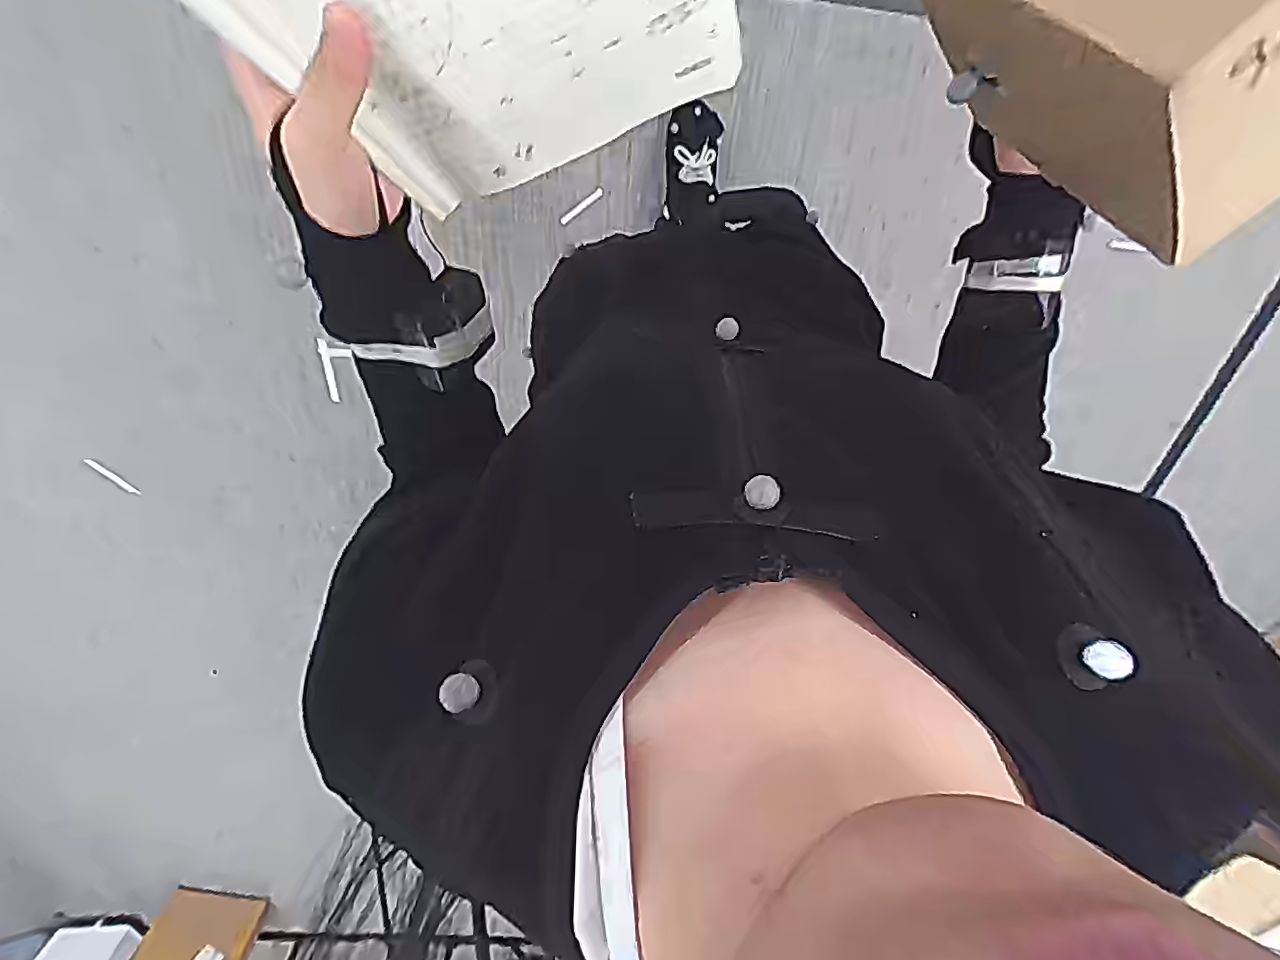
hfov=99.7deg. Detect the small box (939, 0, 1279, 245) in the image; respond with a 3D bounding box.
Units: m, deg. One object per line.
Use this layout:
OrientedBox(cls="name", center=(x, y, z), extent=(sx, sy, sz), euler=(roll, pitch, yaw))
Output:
OrientedBox(cls="small box", center=(0.247, -0.240, 0.219), extent=(0.179, 0.176, 0.168), euler=(4, 141, -45))
